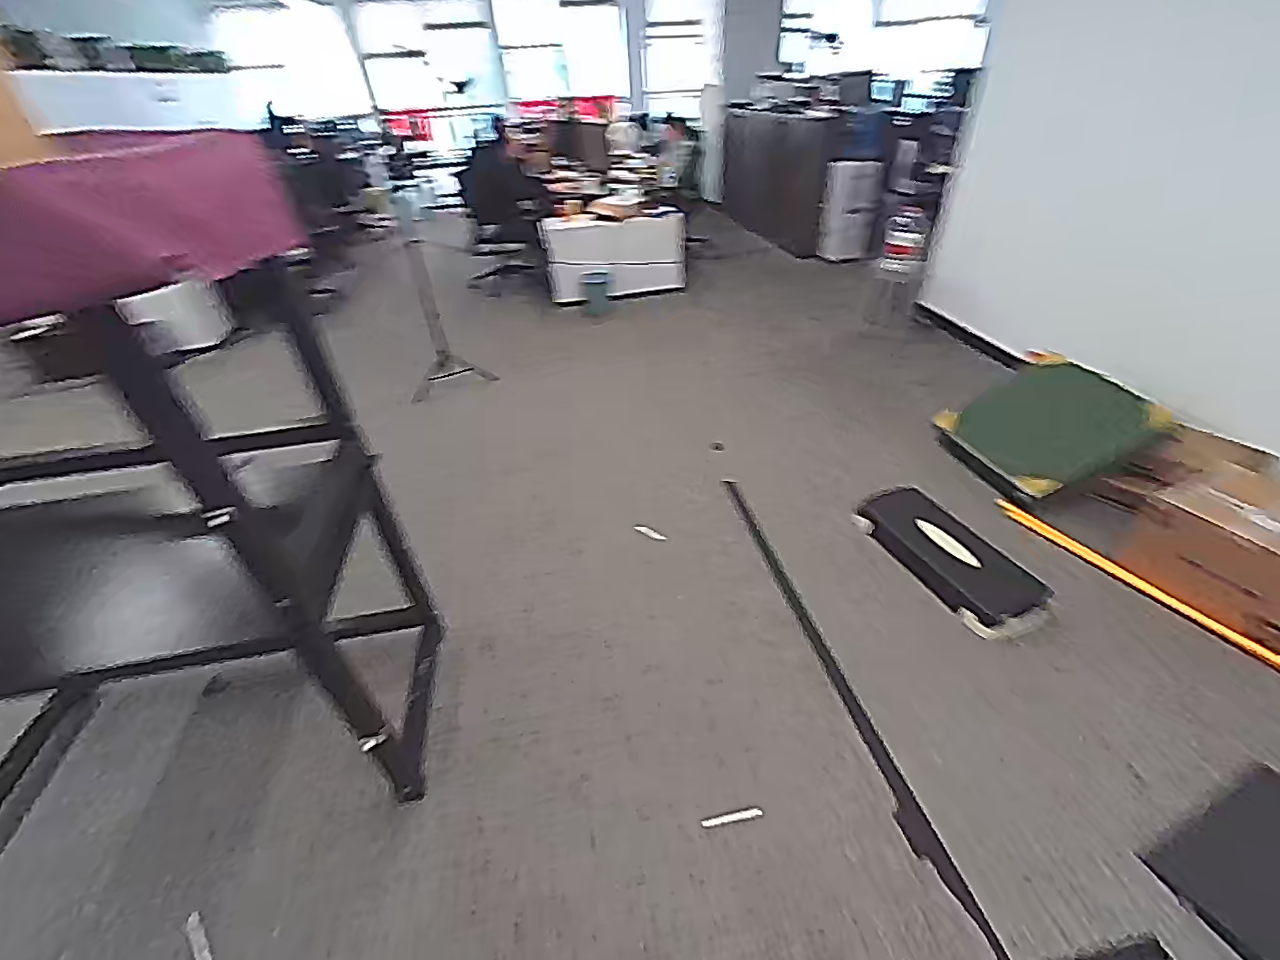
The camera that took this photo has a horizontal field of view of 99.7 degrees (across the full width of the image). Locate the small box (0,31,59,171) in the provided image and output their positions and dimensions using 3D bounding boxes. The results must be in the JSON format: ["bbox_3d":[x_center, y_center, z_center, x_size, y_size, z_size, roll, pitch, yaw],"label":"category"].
[{"bbox_3d":[-0.877,-0.460,0.646,0.168,0.176,0.179,-7,37,-2],"label":"small box"}]
